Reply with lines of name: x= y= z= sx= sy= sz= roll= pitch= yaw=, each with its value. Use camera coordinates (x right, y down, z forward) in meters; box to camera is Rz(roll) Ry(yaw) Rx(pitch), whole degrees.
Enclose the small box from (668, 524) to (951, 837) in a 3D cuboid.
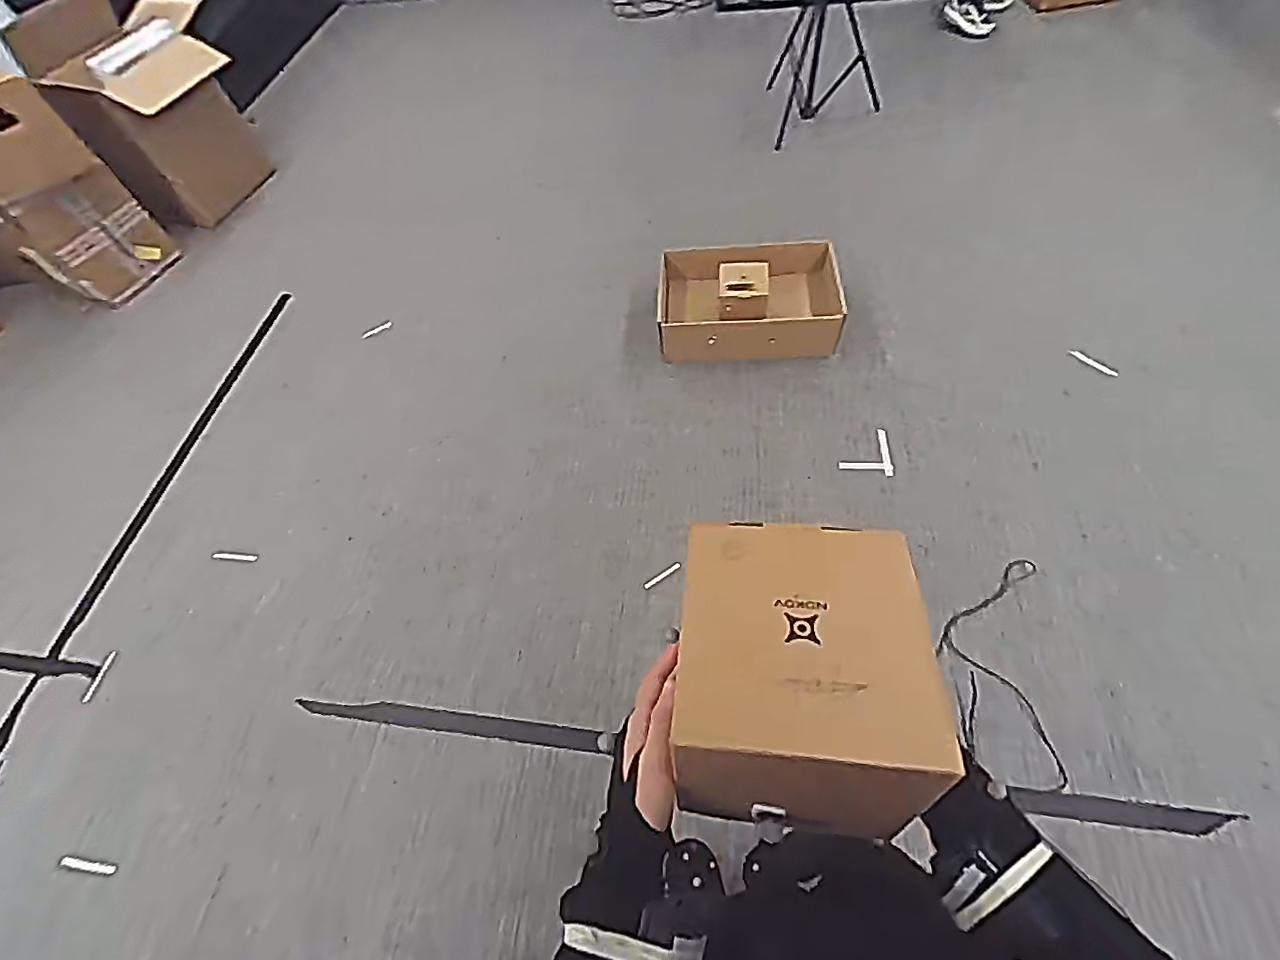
small box: x=0.114 y=0.157 z=0.432 sx=0.168 sy=0.176 sz=0.179 roll=1 pitch=46 yaw=9
